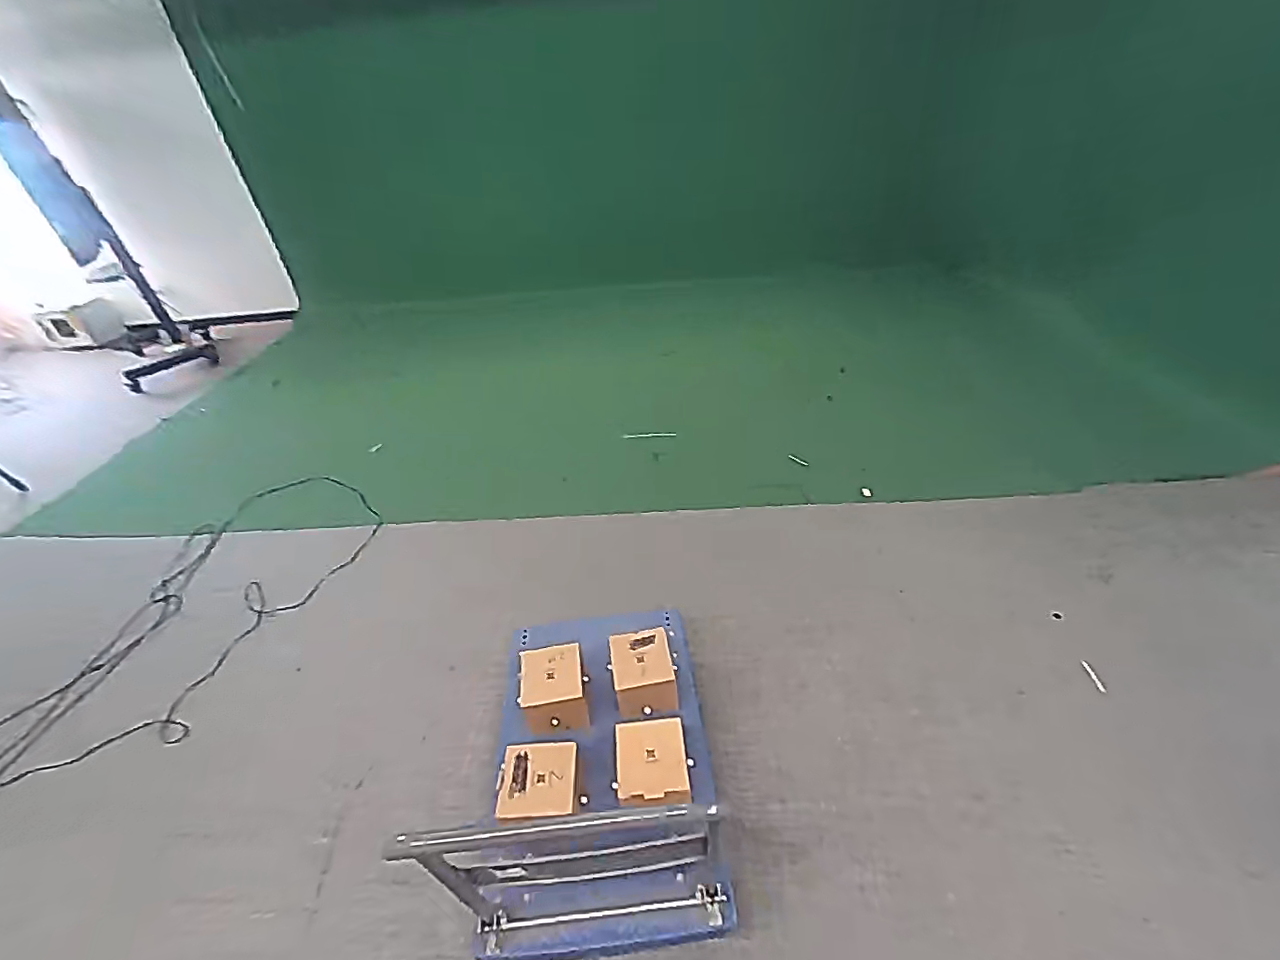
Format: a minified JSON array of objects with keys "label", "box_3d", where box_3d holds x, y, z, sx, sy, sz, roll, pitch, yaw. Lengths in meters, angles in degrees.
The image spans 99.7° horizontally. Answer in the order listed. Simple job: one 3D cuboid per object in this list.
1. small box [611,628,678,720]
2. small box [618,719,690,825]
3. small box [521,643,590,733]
[{"label":"small box","box_3d":[0.011,0.557,1.552,0.168,0.176,0.179,-9,39,-3]},{"label":"small box","box_3d":[0.033,0.724,1.340,0.168,0.176,0.179,-6,38,0]},{"label":"small box","box_3d":[-0.237,0.596,1.536,0.168,0.176,0.179,-8,38,-4]}]
